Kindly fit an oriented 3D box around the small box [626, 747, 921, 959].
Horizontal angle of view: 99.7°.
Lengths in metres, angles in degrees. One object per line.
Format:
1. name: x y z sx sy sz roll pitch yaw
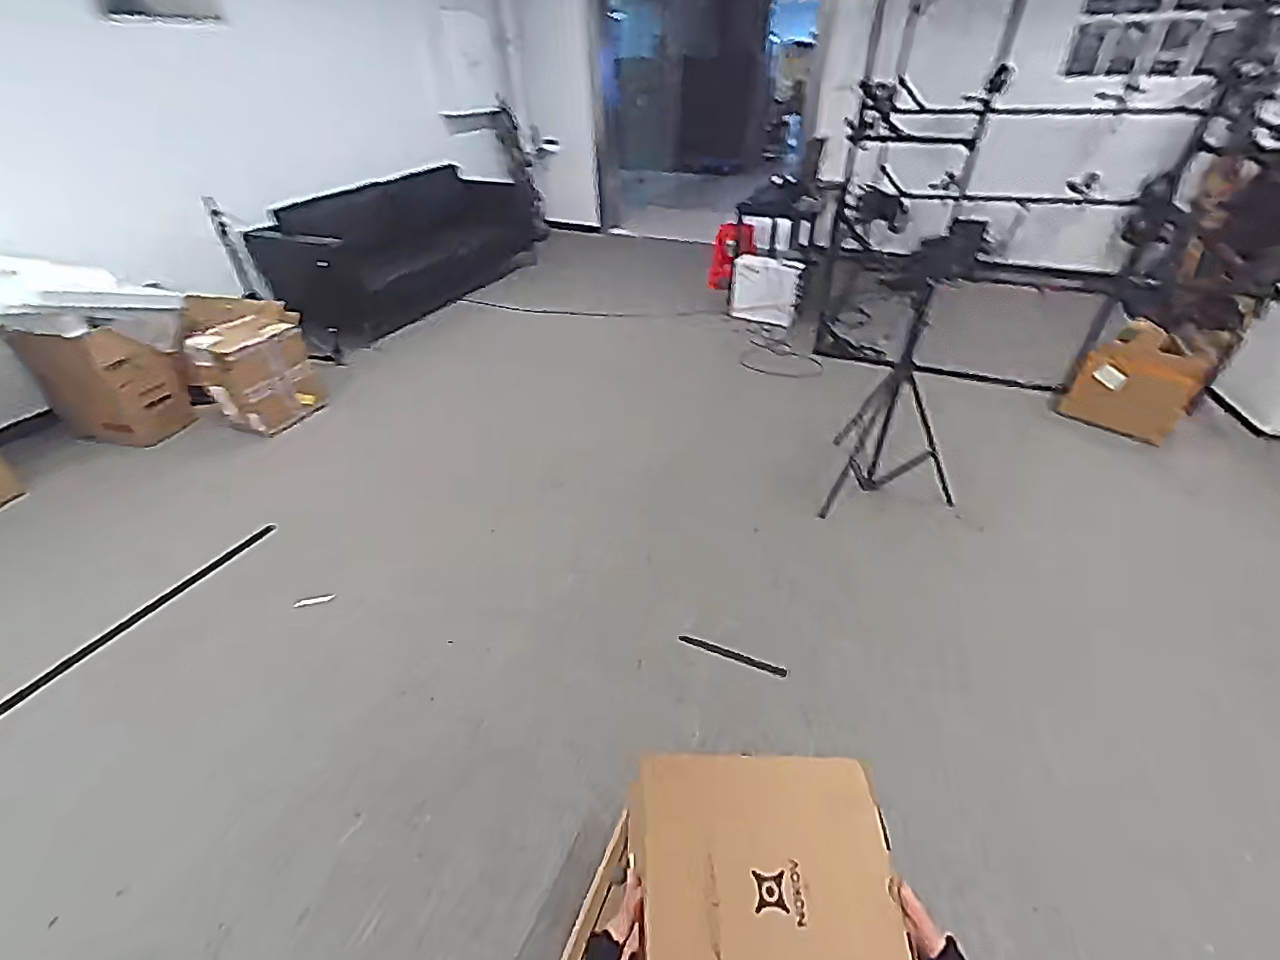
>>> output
1. small box: 0.083 0.314 0.420 0.179 0.176 0.168 2 51 -5
